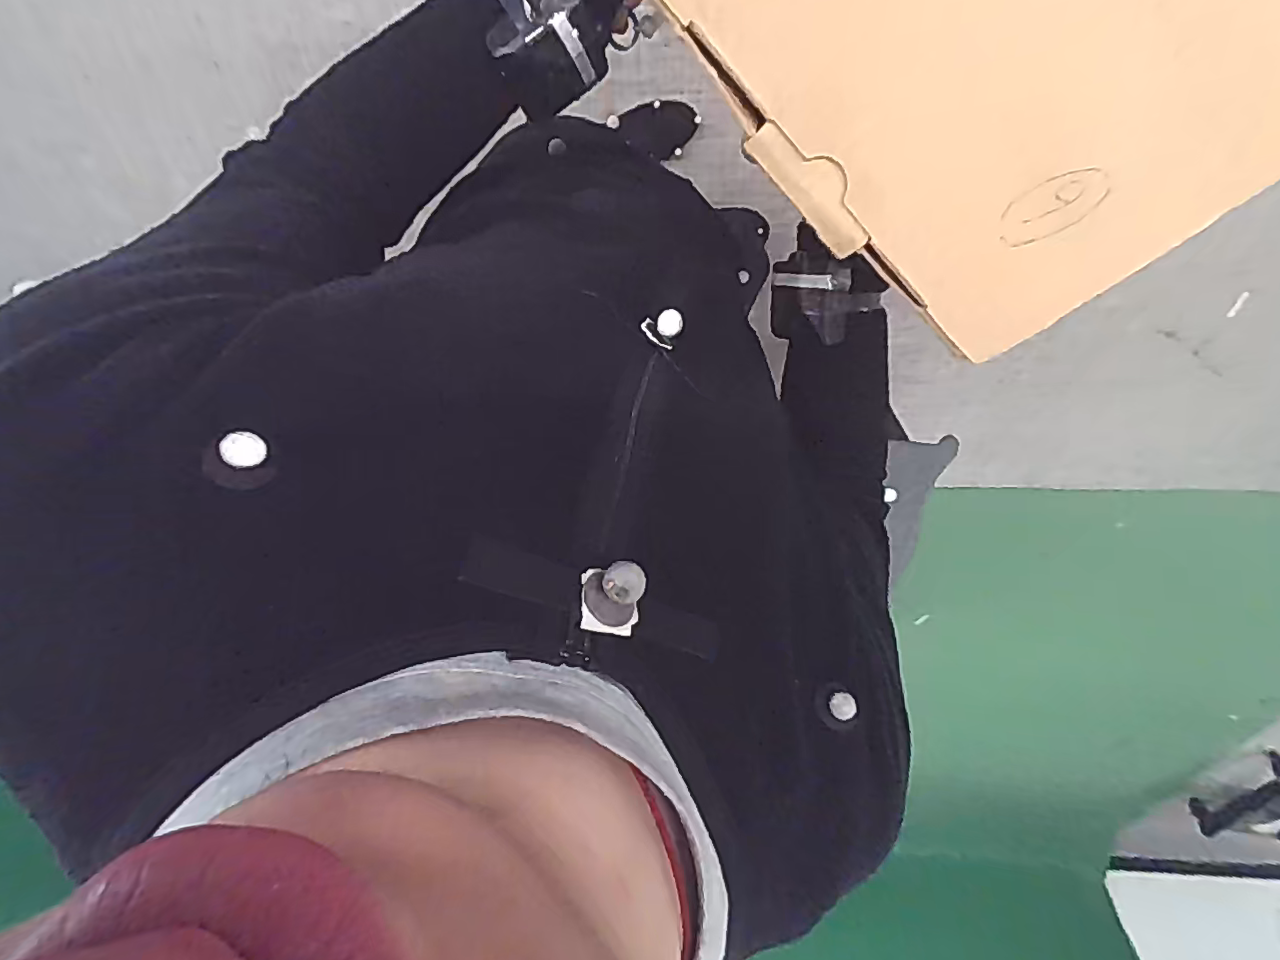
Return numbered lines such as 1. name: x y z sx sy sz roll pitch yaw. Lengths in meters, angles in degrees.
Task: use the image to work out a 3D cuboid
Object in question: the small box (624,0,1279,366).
1. small box: 0.108 -0.175 0.155 0.168 0.176 0.179 35 129 -24
